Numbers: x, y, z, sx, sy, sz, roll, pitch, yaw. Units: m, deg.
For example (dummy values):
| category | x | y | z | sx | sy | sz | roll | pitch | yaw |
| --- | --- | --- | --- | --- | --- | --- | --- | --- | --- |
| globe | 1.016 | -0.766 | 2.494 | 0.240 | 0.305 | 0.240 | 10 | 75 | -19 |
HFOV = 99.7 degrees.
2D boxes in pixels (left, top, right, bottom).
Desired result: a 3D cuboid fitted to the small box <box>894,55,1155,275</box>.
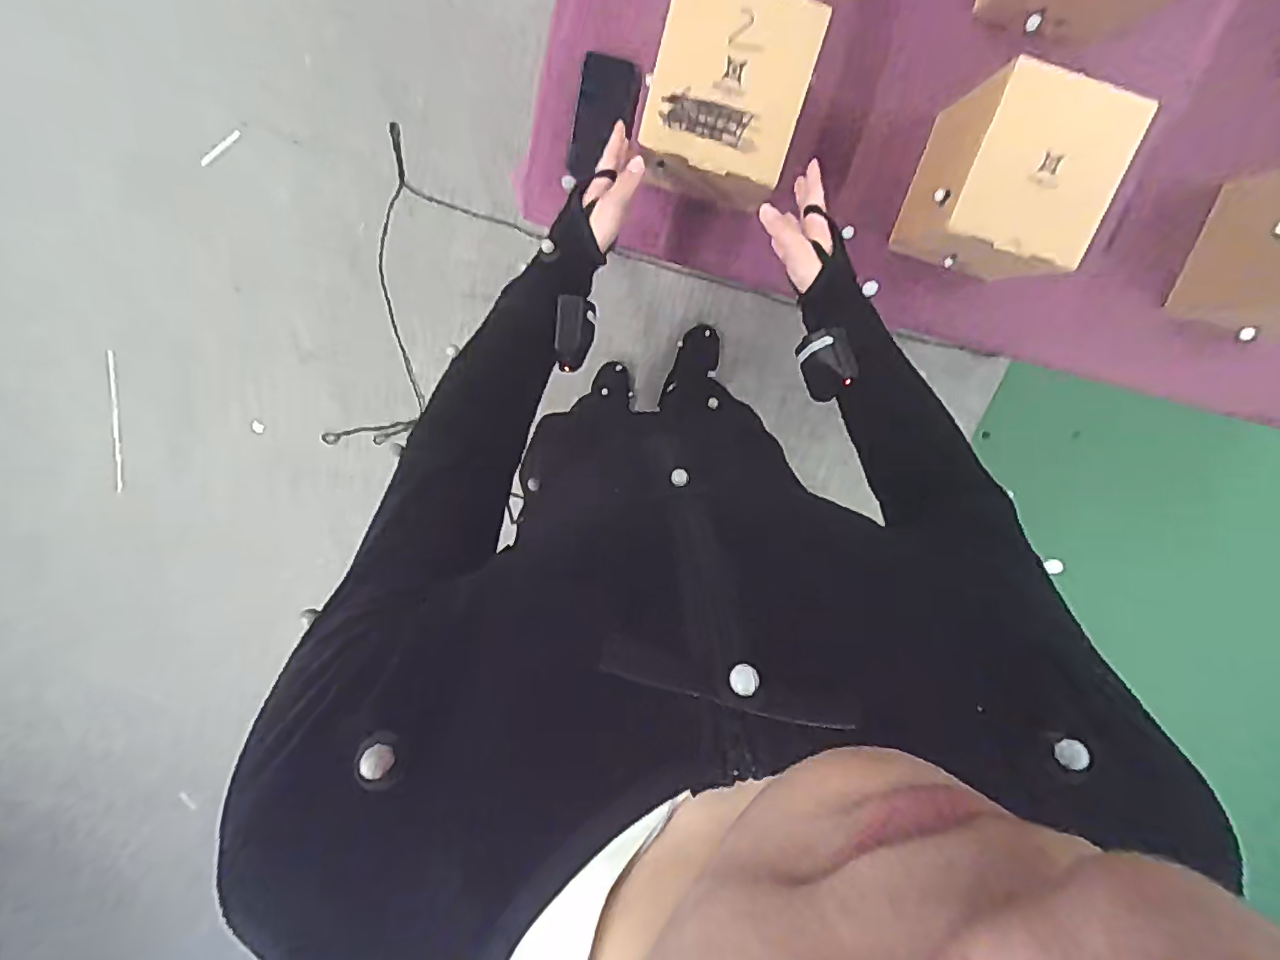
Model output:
| category | x | y | z | sx | sy | sz | roll | pitch | yaw |
| --- | --- | --- | --- | --- | --- | --- | --- | --- | --- |
| small box | 0.449 | -0.367 | 0.669 | 0.168 | 0.176 | 0.179 | 16 | 108 | -4 |

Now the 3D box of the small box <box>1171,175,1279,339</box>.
| category | x | y | z | sx | sy | sz | roll | pitch | yaw |
| --- | --- | --- | --- | --- | --- | --- | --- | --- | --- |
| small box | 0.845 | -0.280 | 0.679 | 0.168 | 0.176 | 0.179 | 14 | 107 | -1 |
